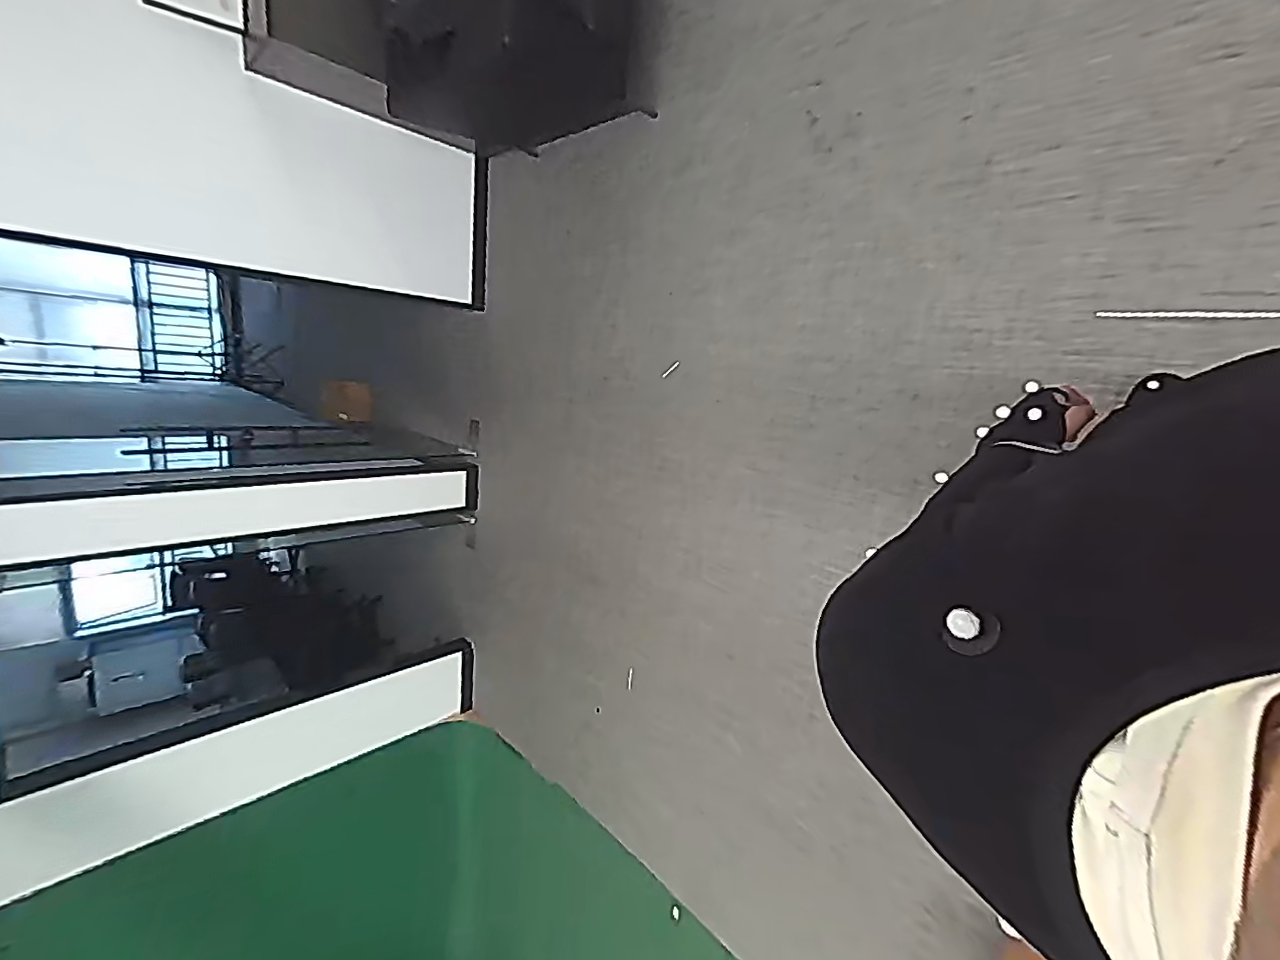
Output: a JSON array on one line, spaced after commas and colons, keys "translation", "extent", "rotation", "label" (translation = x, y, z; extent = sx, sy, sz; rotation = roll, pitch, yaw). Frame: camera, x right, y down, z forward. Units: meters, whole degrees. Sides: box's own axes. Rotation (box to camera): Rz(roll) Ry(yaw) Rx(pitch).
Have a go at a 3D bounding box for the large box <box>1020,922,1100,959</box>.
[{"translation": [1.078, 1.366, 1.232], "extent": [0.408, 0.320, 0.320], "rotation": [14, 104, 44], "label": "large box"}]
